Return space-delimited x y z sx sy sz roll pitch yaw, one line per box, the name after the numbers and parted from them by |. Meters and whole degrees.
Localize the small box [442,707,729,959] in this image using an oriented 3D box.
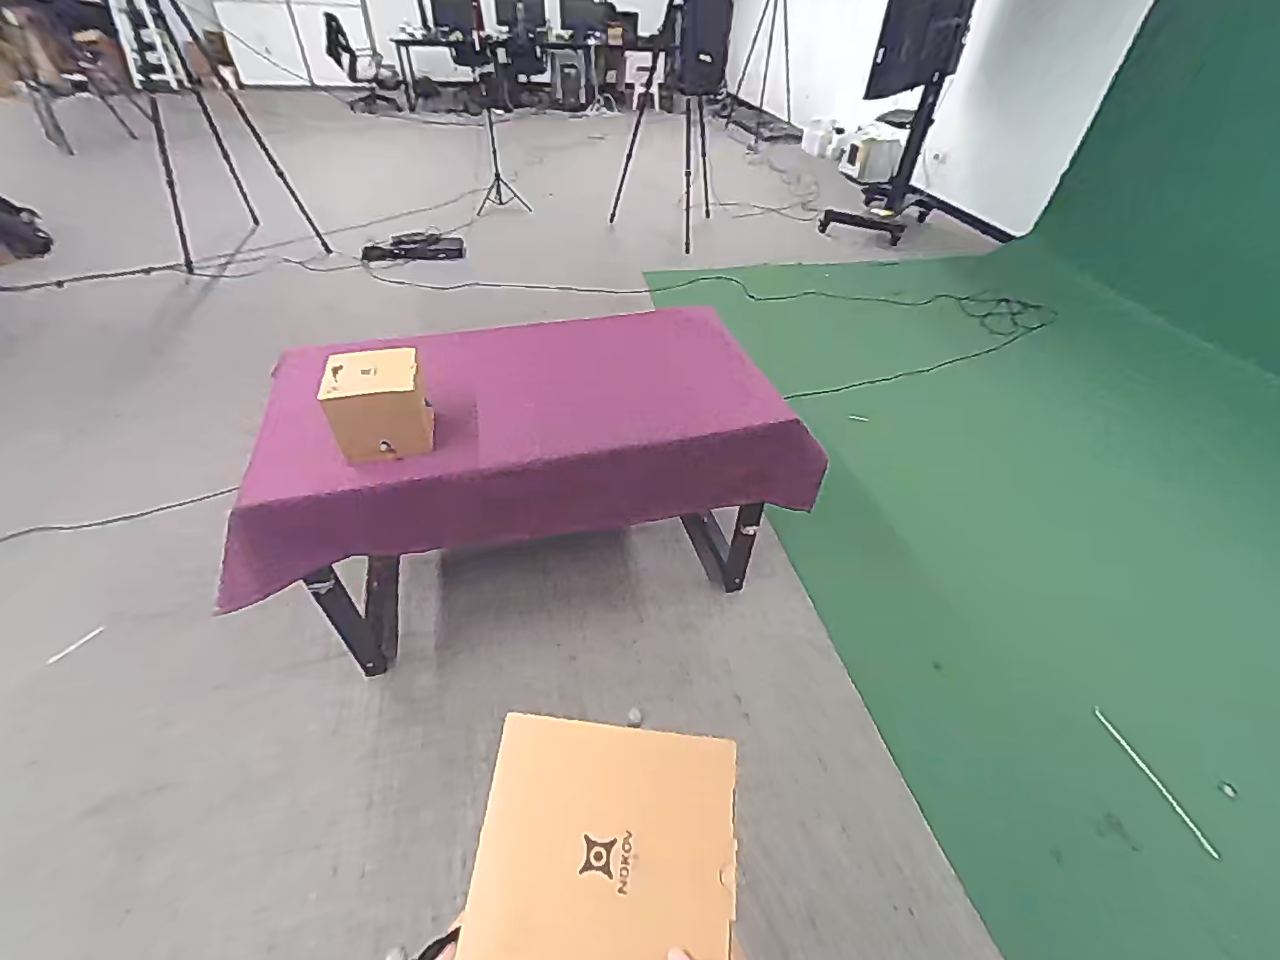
-0.028 0.291 0.435 0.179 0.176 0.168 5 61 4 | small box

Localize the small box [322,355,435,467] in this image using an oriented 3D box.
-0.542 -0.147 1.152 0.179 0.176 0.168 -8 44 -12 | small box
